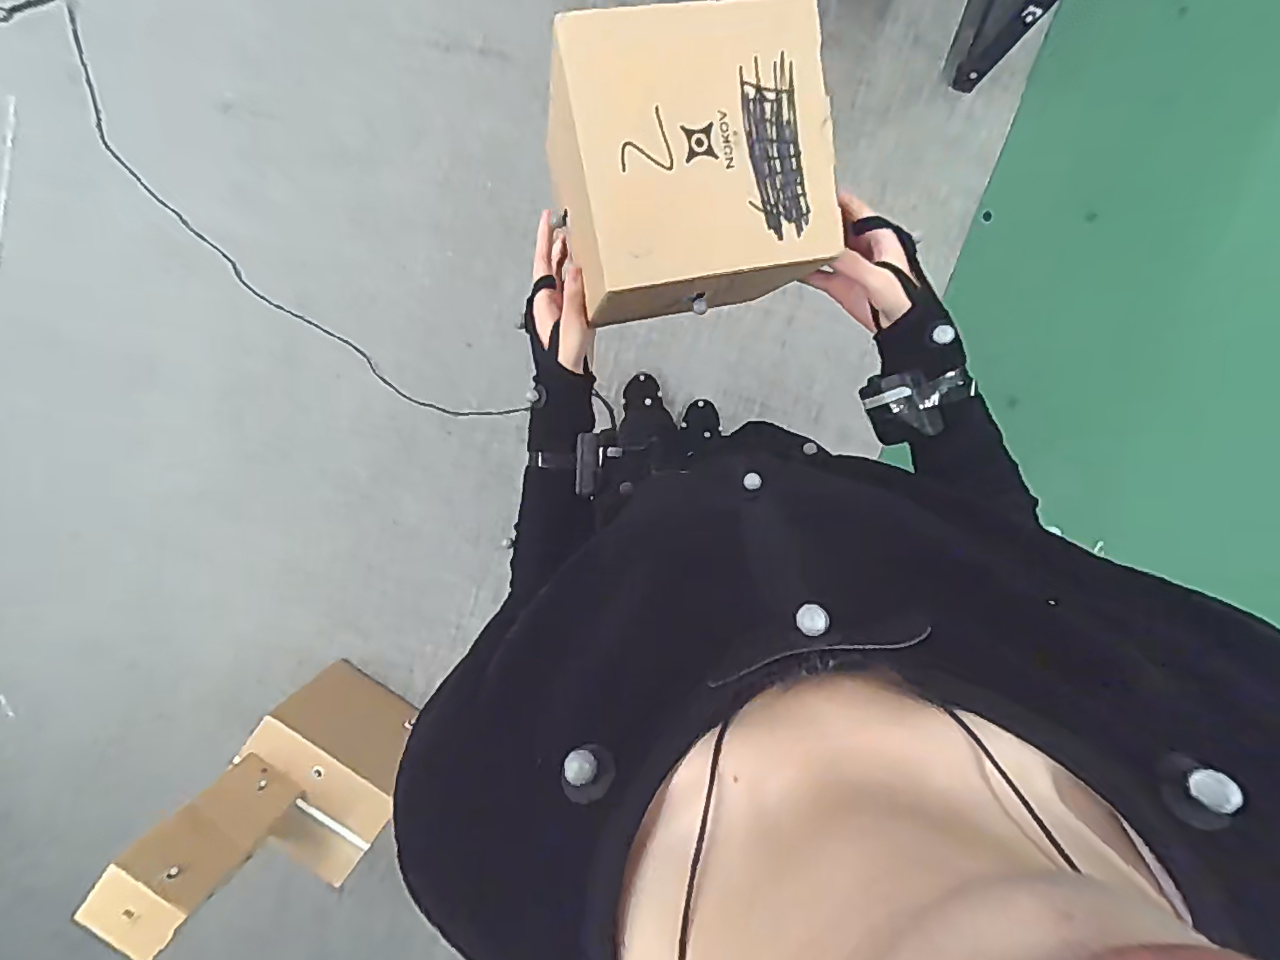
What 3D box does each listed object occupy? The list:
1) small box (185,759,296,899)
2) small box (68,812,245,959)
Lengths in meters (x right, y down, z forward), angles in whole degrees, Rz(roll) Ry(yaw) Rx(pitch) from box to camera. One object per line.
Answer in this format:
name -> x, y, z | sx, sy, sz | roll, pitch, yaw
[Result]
small box -> -0.956, 0.807, 1.264 | 0.168, 0.176, 0.179 | 37, 99, -3
small box -> -0.972, 0.824, 1.103 | 0.179, 0.176, 0.168 | 38, 99, -3
